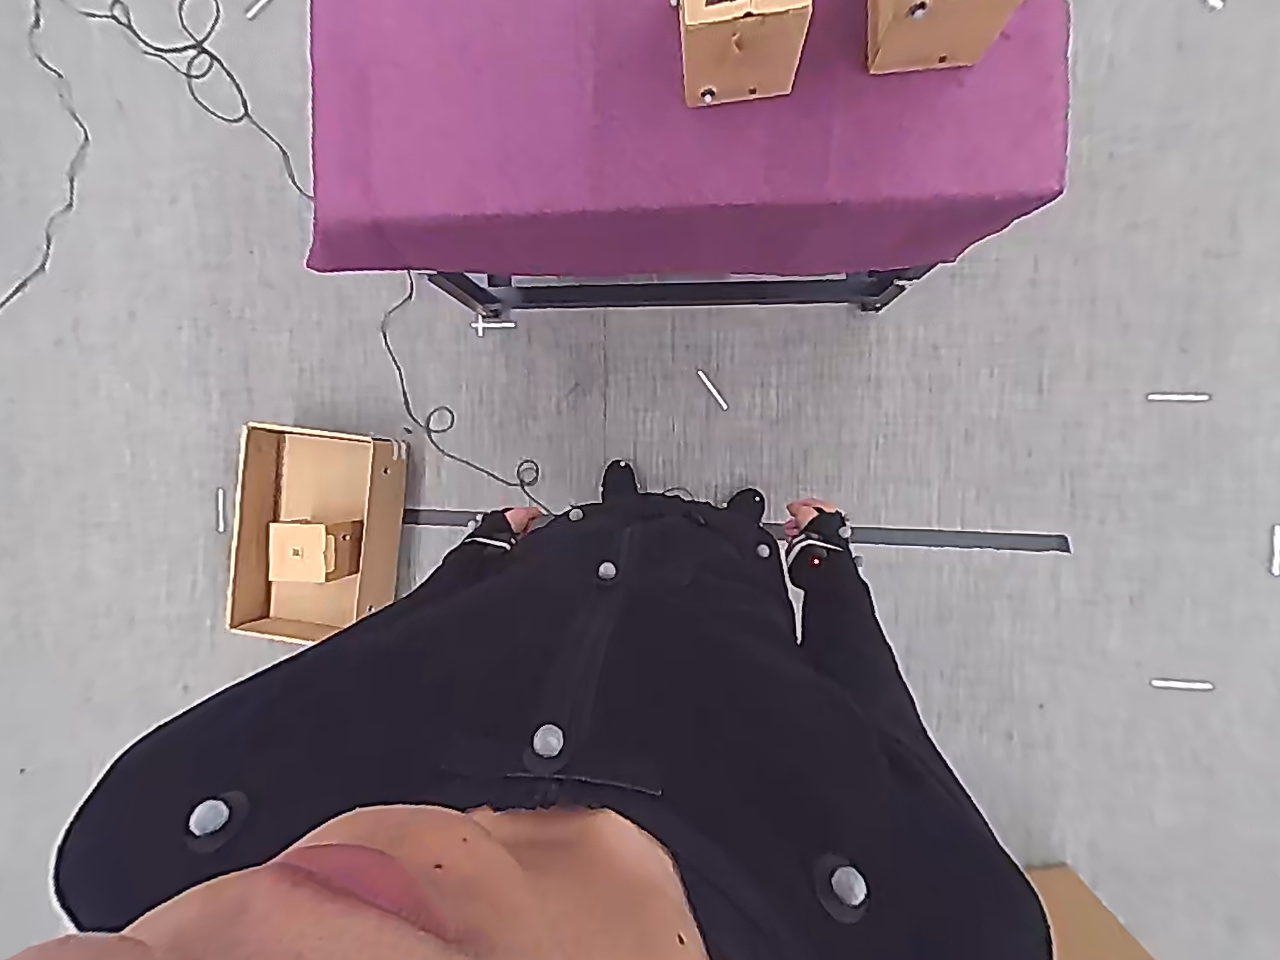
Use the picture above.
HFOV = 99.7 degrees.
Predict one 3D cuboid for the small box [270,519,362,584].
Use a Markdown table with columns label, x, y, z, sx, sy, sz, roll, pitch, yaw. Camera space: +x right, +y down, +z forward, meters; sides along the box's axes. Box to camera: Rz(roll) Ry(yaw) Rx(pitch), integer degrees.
| label | x | y | z | sx | sy | sz | roll | pitch | yaw |
| --- | --- | --- | --- | --- | --- | --- | --- | --- | --- |
| small box | -0.947 | 0.205 | 1.593 | 0.179 | 0.176 | 0.168 | 2 | 90 | 5 |

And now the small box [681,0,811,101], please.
| label | x | y | z | sx | sy | sz | roll | pitch | yaw |
| --- | --- | --- | --- | --- | --- | --- | --- | --- | --- |
| small box | 0.144 | -0.686 | 0.782 | 0.168 | 0.176 | 0.179 | -4 | 90 | 5 |
